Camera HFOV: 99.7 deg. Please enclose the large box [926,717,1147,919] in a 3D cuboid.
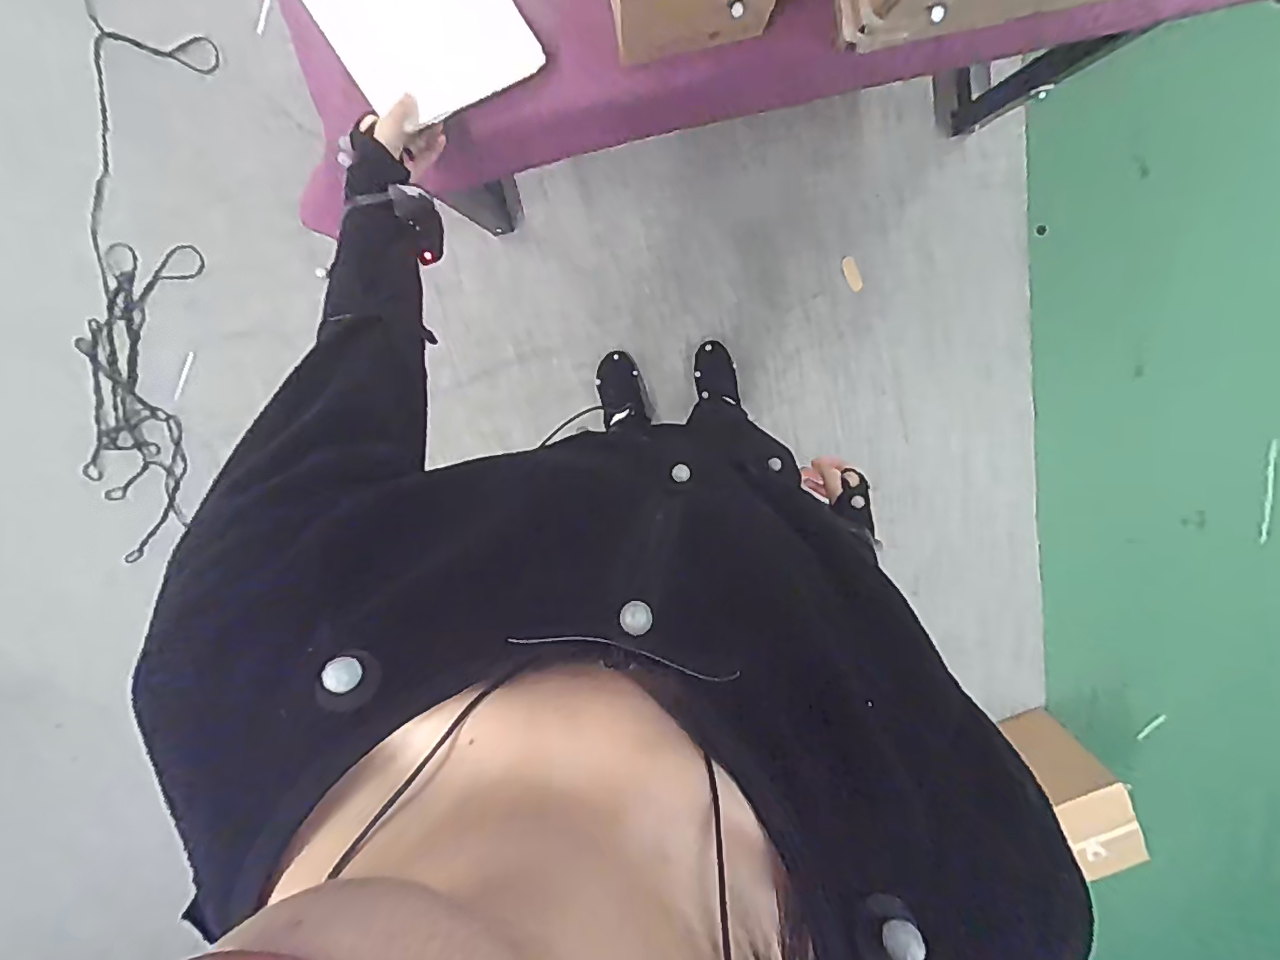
[{"bbox_3d":[1.179,1.009,1.646,0.408,0.320,0.320,-26,104,5],"label":"large box"}]
